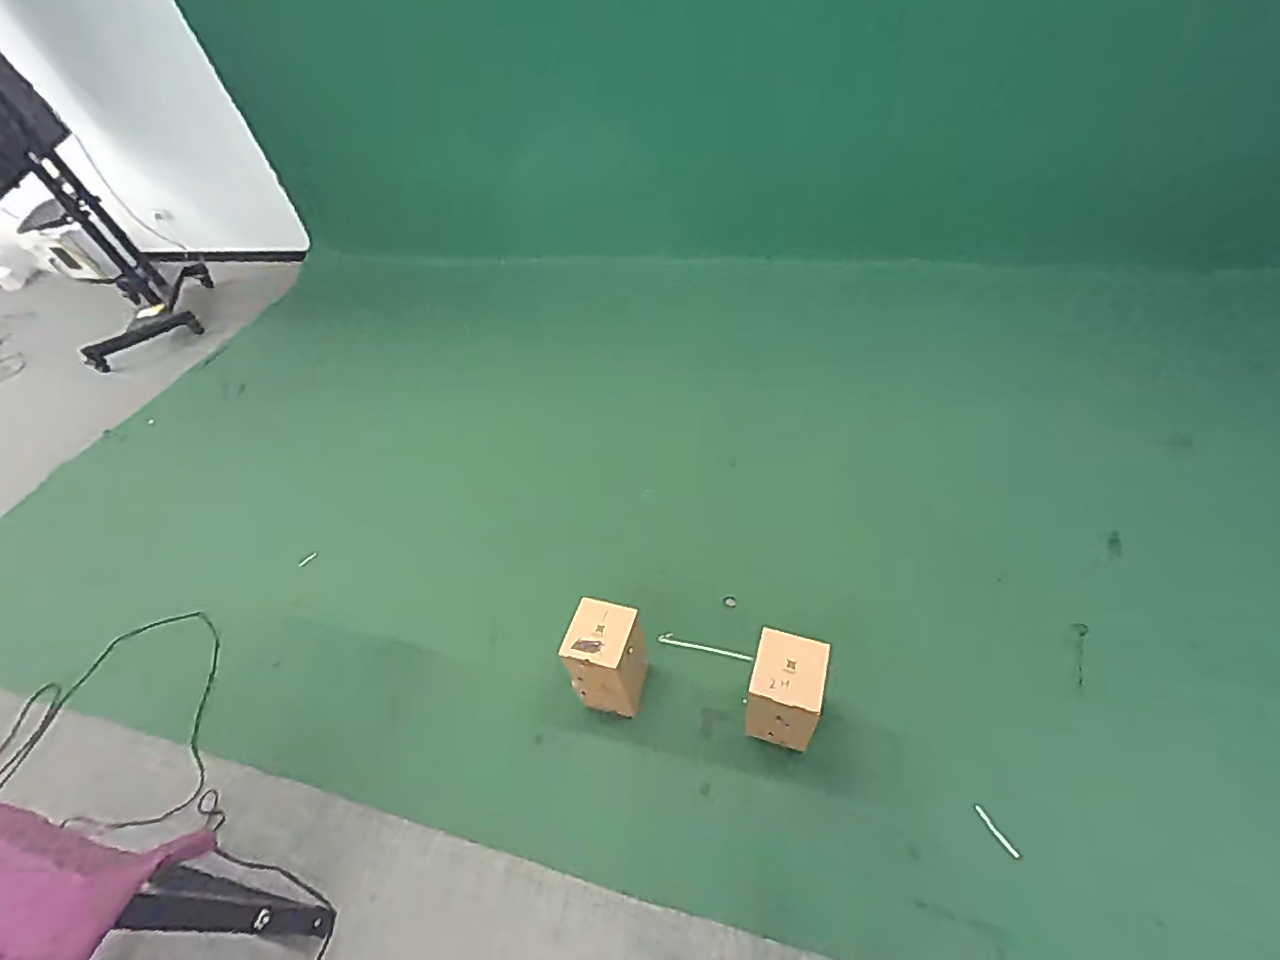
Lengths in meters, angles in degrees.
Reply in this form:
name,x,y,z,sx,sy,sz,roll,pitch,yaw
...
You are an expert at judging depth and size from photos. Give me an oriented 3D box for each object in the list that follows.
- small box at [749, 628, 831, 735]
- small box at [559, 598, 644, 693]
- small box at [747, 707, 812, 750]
name,x,y,z,sx,sy,sz,roll,pitch,yaw
small box,0.371,0.506,1.354,0.168,0.176,0.179,12,53,19
small box,-0.097,0.454,1.478,0.168,0.176,0.179,10,50,18
small box,0.389,0.609,1.481,0.168,0.176,0.179,10,53,17
